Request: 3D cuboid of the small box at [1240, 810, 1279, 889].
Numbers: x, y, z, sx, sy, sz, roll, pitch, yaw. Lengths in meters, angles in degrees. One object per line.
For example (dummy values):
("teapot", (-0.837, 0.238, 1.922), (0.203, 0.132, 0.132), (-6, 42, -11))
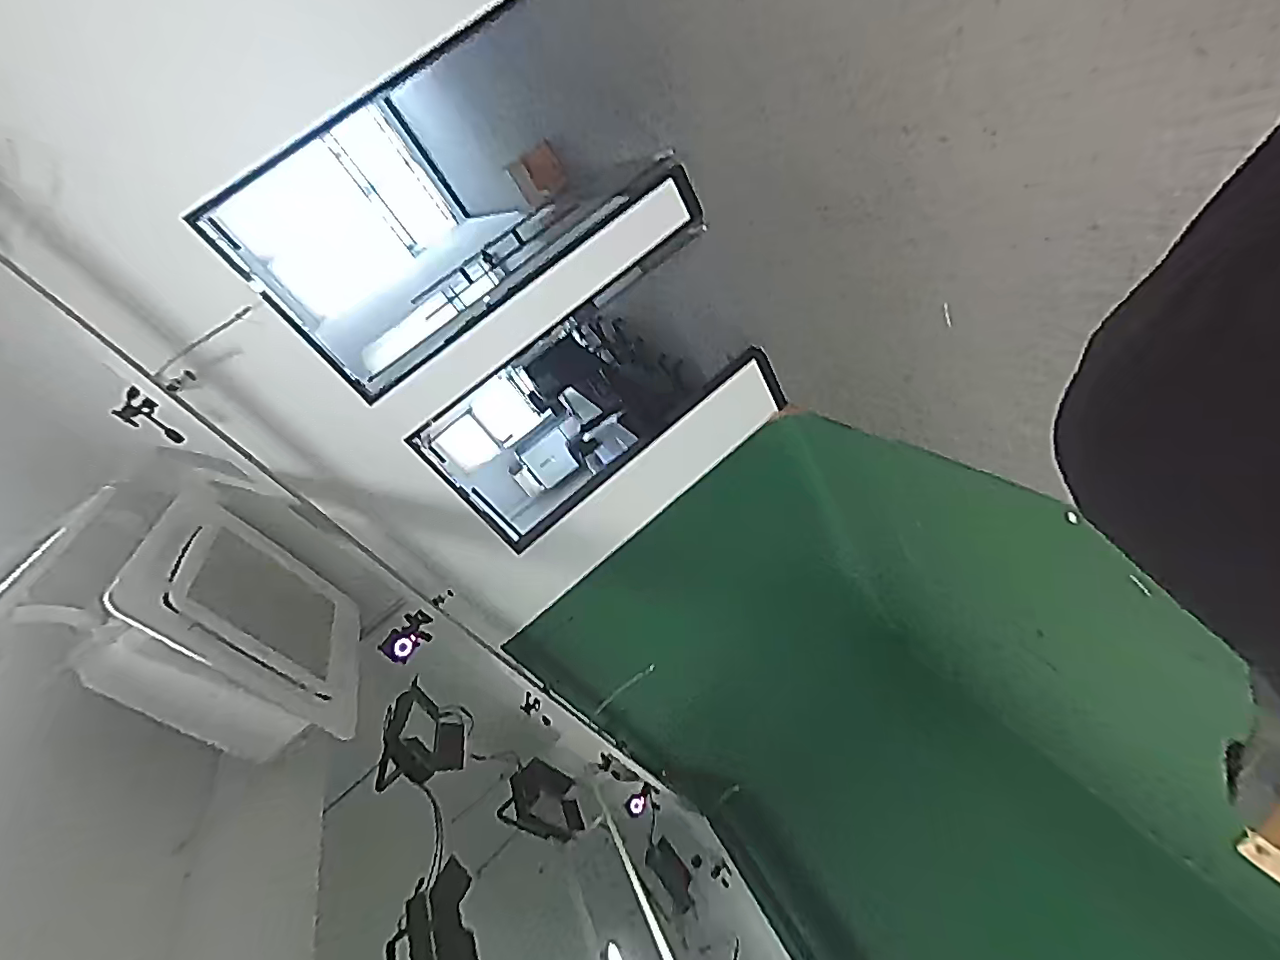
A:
("small box", (1.451, 0.807, 1.139), (0.179, 0.176, 0.168), (42, 168, 50))
